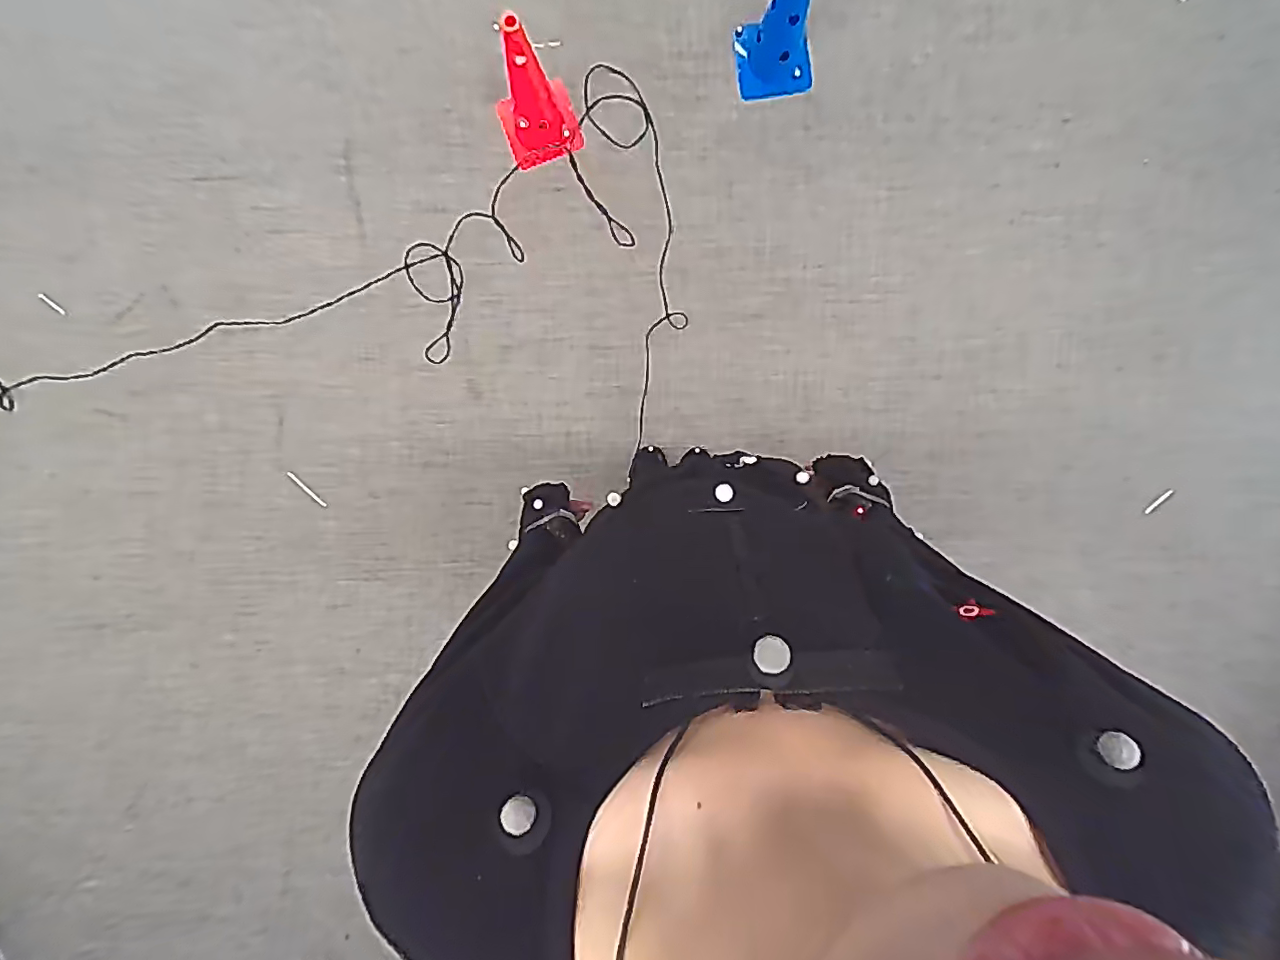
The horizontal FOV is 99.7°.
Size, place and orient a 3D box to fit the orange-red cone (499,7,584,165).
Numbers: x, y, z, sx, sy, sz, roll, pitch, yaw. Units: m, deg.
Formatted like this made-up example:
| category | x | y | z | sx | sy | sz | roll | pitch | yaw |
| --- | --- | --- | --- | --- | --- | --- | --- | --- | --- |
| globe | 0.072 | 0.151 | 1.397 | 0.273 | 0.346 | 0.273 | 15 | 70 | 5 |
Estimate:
| category | x | y | z | sx | sy | sz | roll | pitch | yaw |
| --- | --- | --- | --- | --- | --- | --- | --- | --- | --- |
| orange-red cone | -0.271 | -0.977 | 1.308 | 0.198 | 0.360 | 0.199 | -20 | 90 | 0 |
